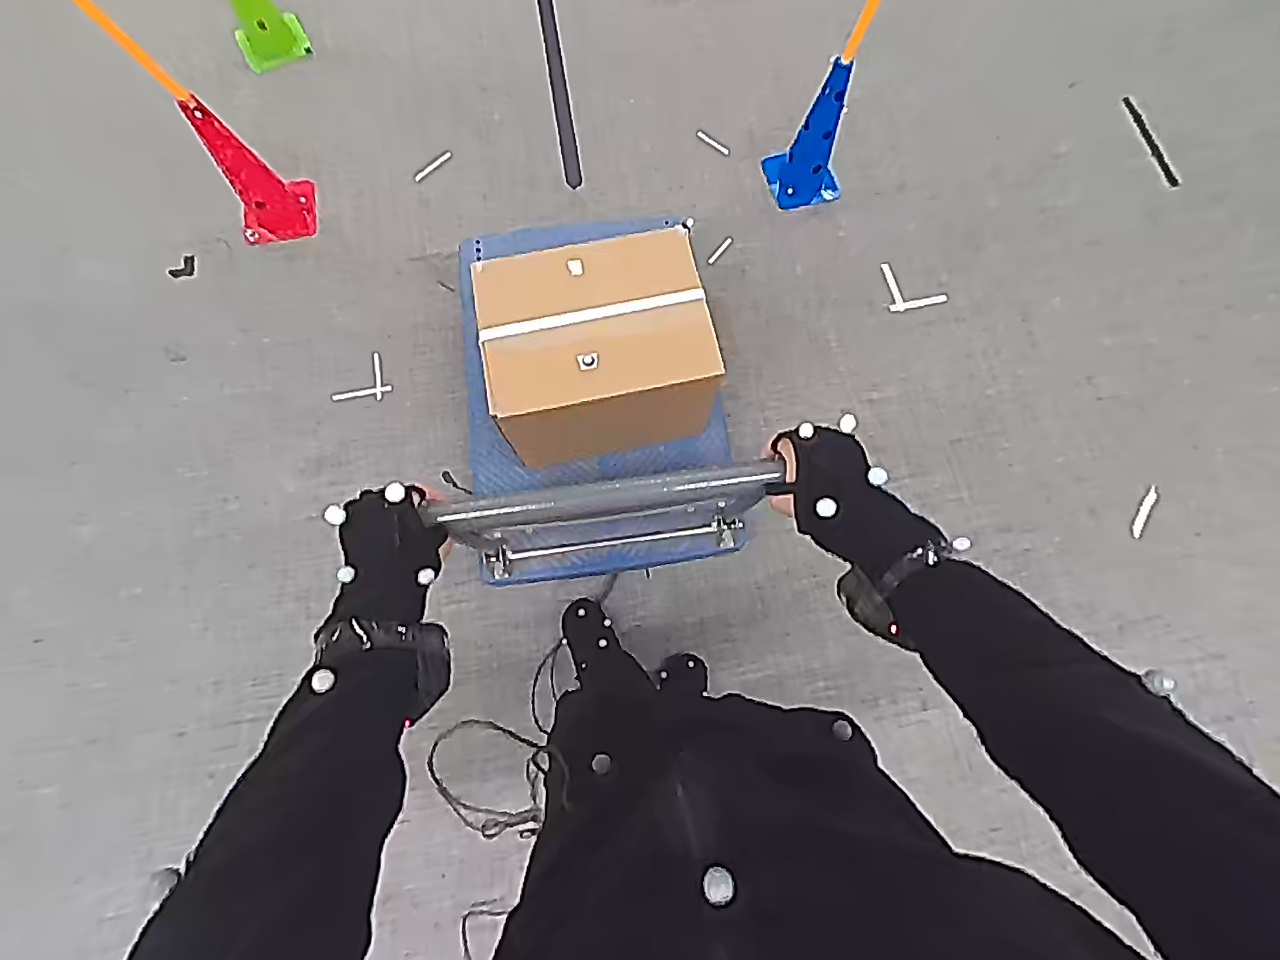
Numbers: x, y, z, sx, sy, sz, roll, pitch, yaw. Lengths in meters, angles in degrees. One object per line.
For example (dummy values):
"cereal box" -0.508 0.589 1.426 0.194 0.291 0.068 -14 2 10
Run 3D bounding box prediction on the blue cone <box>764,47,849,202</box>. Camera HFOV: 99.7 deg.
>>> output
"blue cone" 0.491 -0.977 1.488 0.193 0.380 0.192 -13 74 -5
